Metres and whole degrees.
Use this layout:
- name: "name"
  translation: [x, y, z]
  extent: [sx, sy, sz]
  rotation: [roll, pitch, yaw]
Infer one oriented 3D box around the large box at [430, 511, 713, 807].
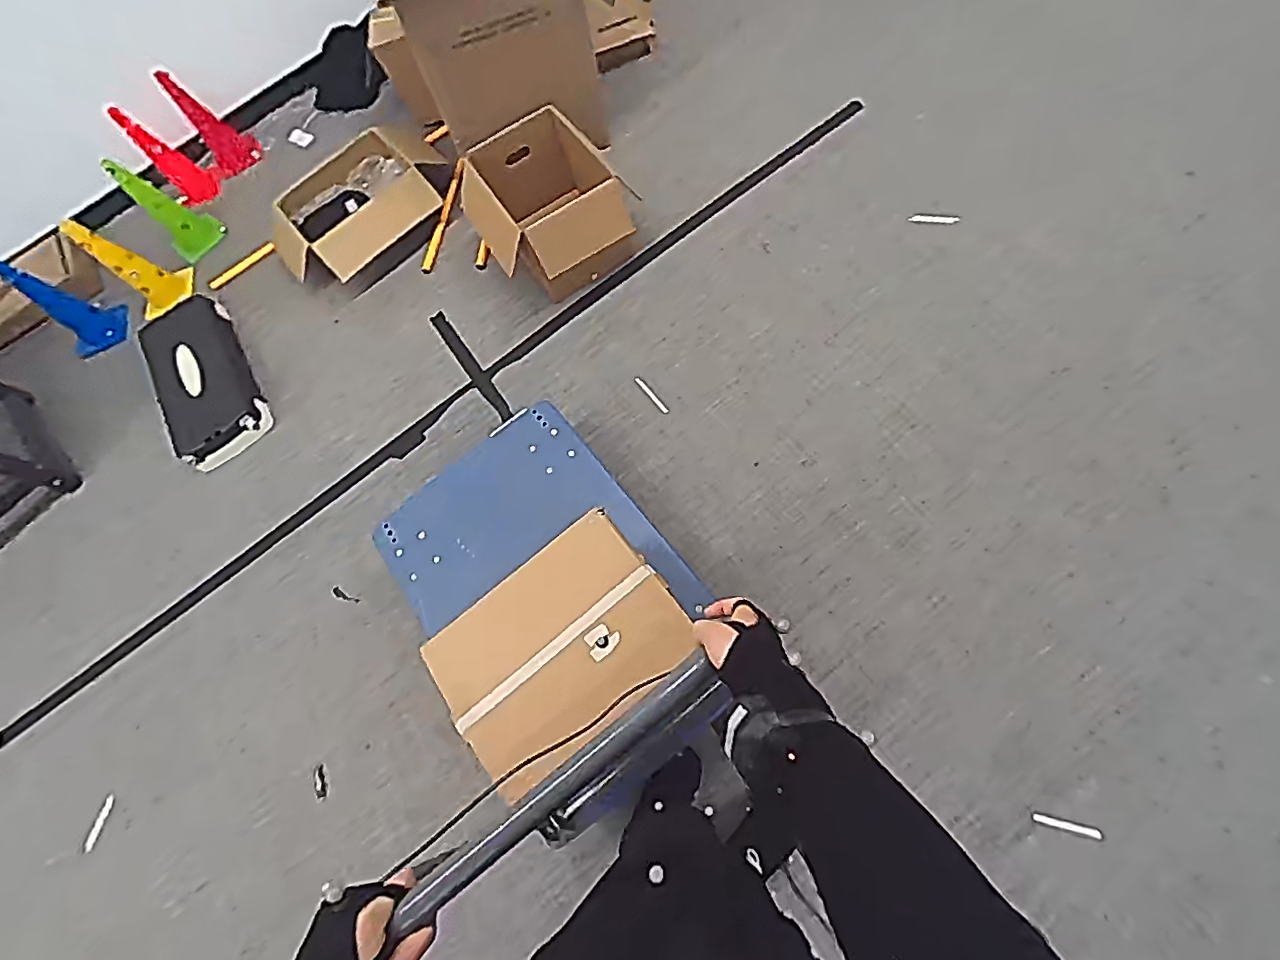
- name: "large box"
  translation: [-0.109, 0.341, 1.057]
  extent: [0.408, 0.320, 0.320]
  rotation: [-39, 68, -7]
